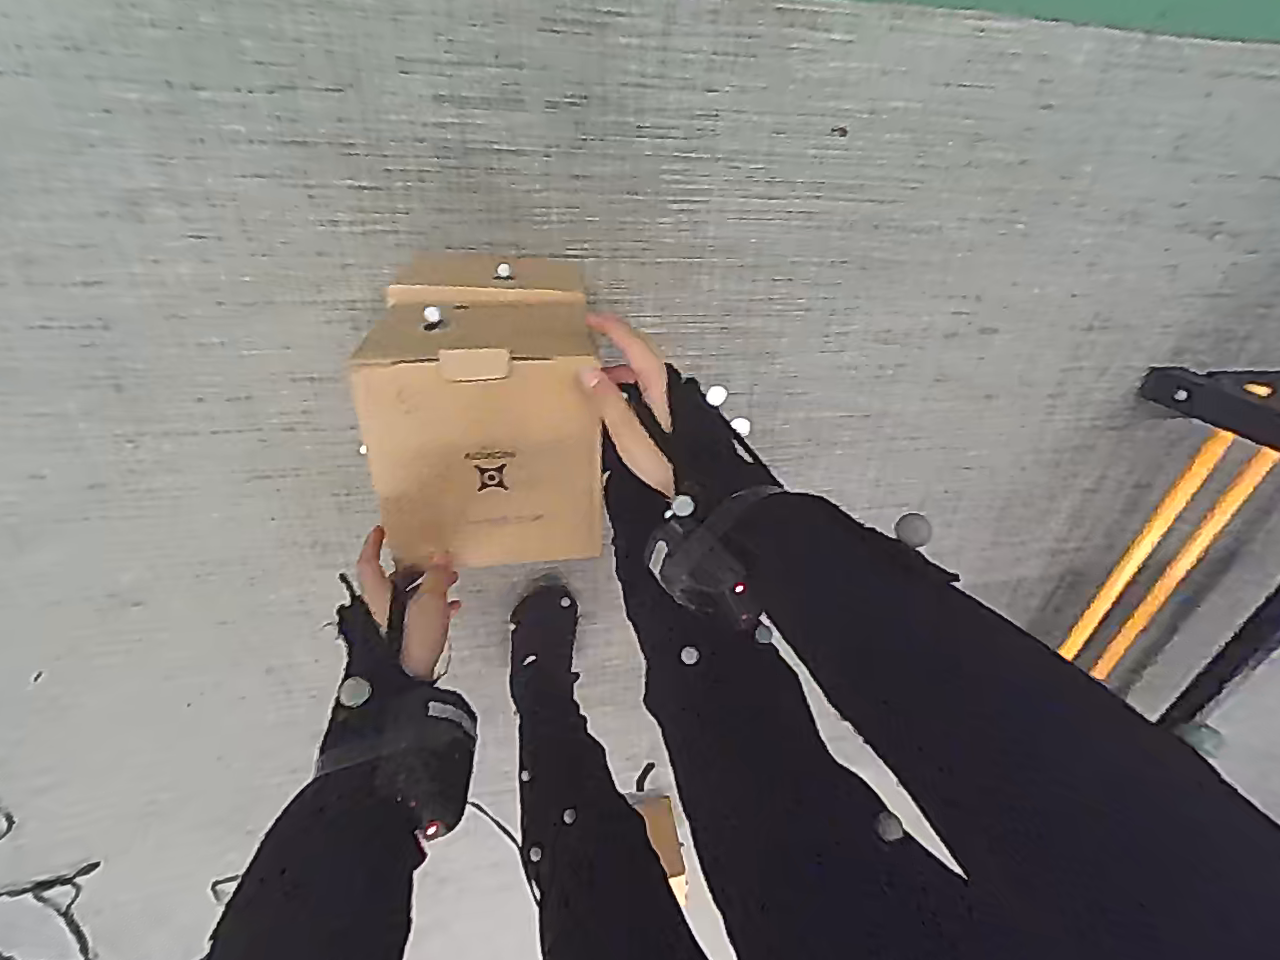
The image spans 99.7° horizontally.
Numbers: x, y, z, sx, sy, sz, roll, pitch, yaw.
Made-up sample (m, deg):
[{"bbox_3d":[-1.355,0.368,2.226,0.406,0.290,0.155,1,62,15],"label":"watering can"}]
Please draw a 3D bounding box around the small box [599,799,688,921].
[{"bbox_3d":[0.006,0.881,1.265,0.179,0.176,0.168,-8,122,-8],"label":"small box"}]

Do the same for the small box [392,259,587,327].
[{"bbox_3d":[-0.157,-0.143,0.600,0.179,0.176,0.168,-1,121,-11],"label":"small box"}]

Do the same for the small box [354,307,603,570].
[{"bbox_3d":[-0.123,-0.047,0.471,0.168,0.176,0.179,-4,122,-9],"label":"small box"}]
